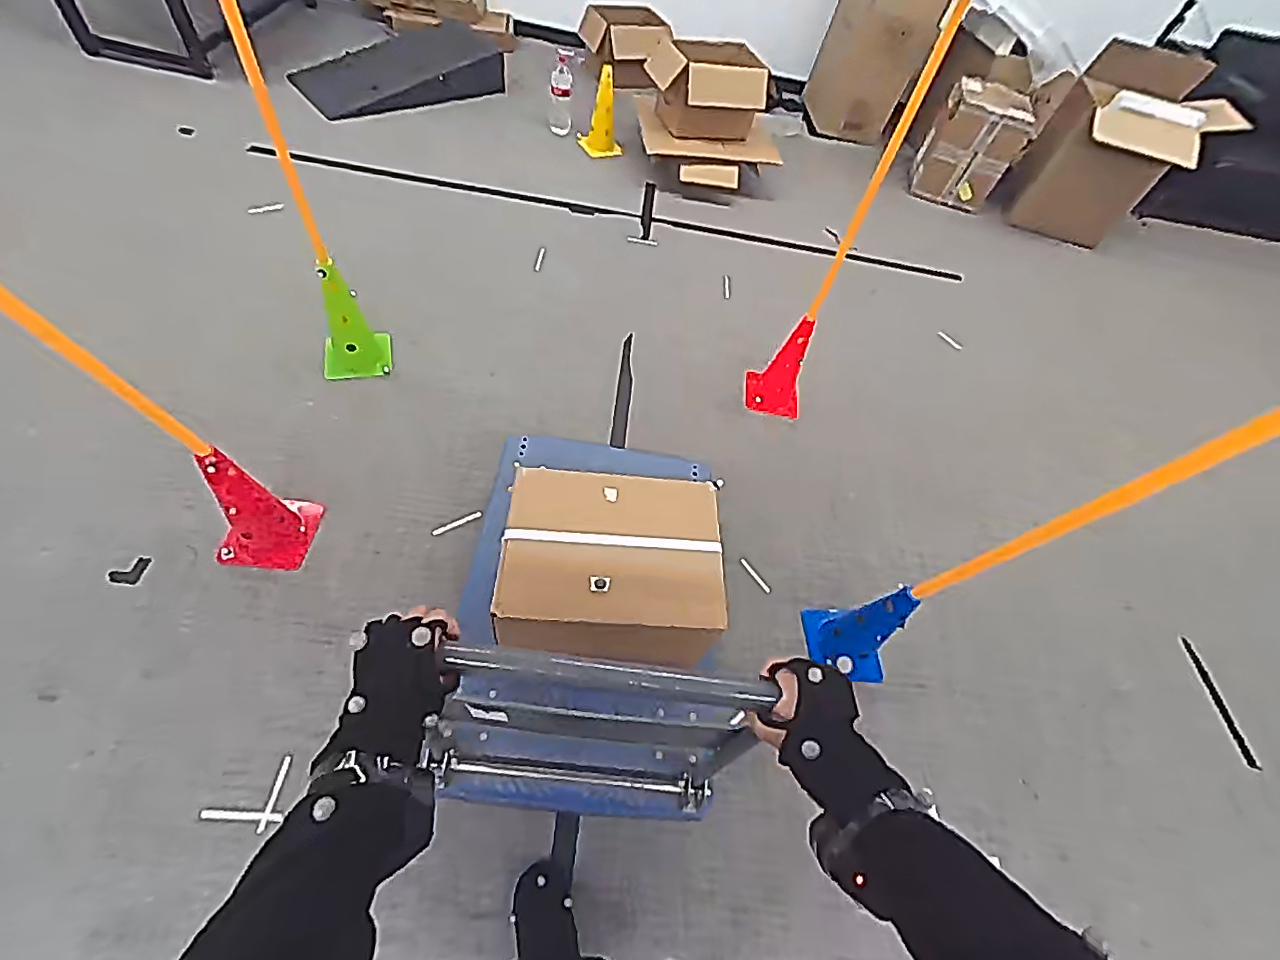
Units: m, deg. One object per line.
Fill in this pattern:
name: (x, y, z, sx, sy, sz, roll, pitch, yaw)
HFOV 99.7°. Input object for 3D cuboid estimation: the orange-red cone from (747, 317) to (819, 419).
orange-red cone: (0.526, -0.409, 1.855, 0.199, 0.360, 0.198, 14, 55, -2)

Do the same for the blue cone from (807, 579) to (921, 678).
blue cone: (0.590, 0.353, 1.360, 0.193, 0.380, 0.192, 5, 54, -8)
